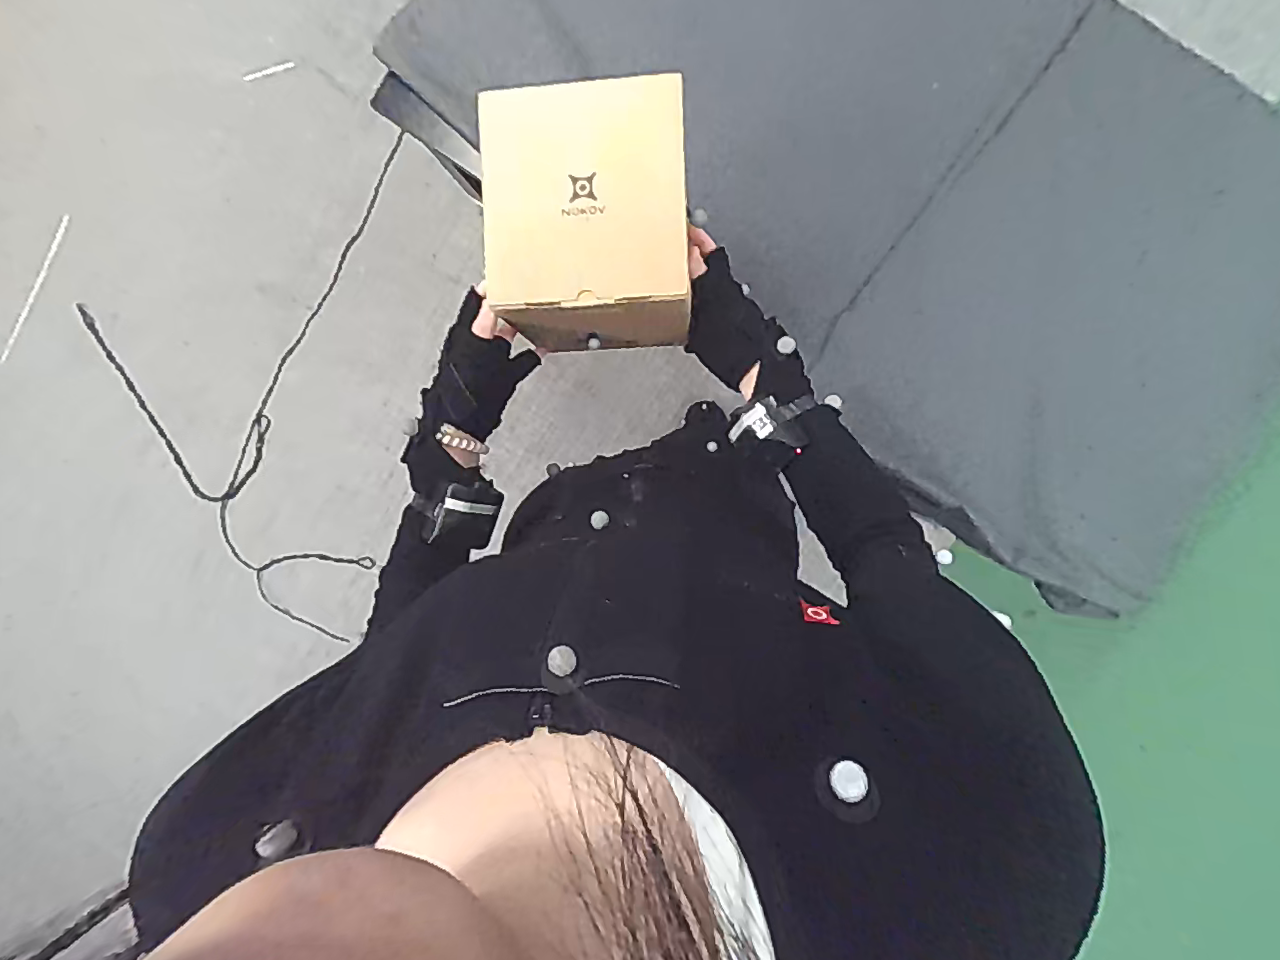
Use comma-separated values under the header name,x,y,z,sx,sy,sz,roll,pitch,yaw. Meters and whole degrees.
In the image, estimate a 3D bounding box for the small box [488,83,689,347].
name,x,y,z,sx,sy,sz,roll,pitch,yaw
small box,-0.038,-0.237,0.526,0.168,0.176,0.179,-2,93,4
